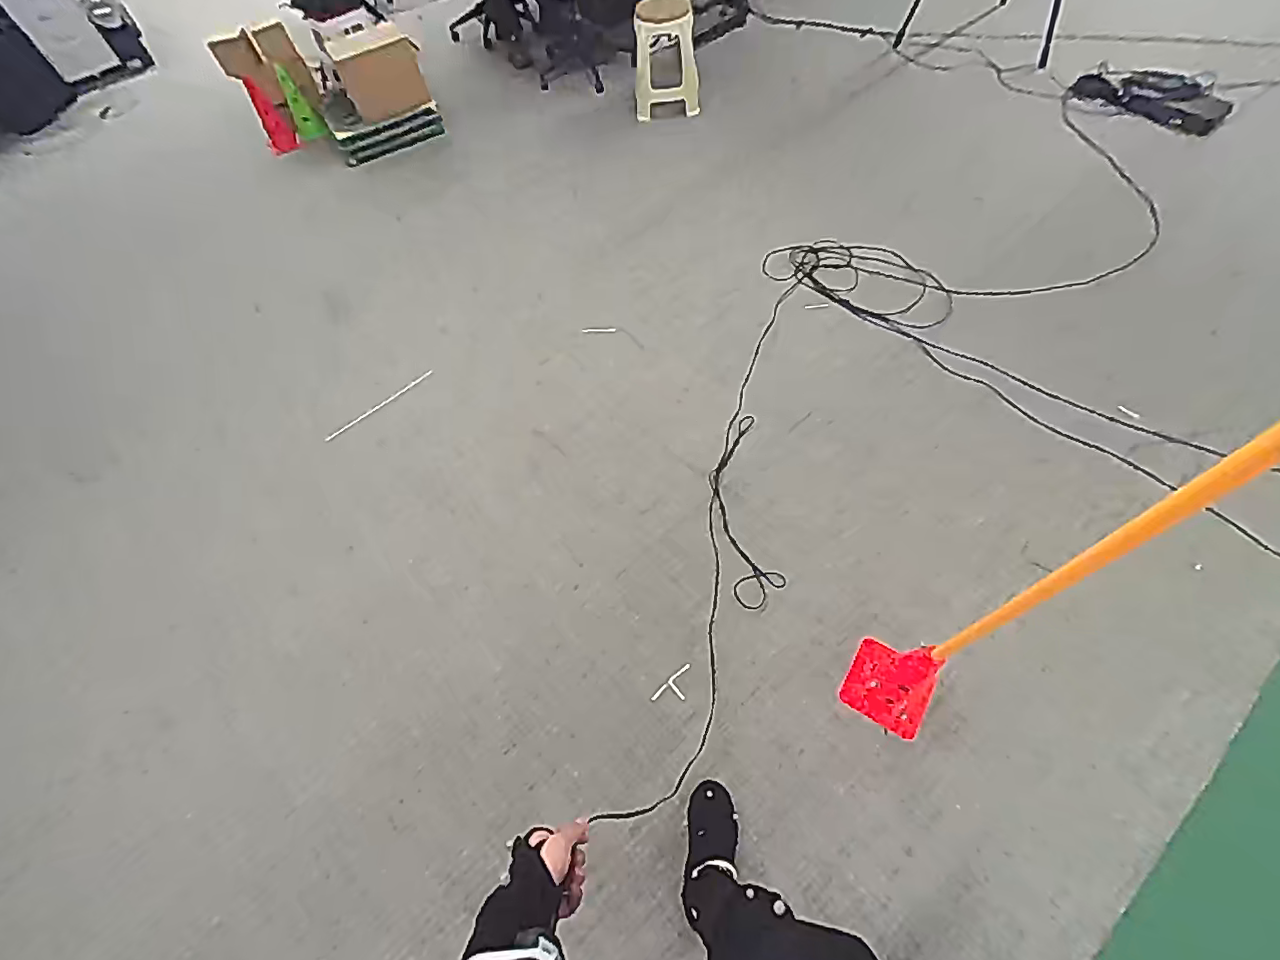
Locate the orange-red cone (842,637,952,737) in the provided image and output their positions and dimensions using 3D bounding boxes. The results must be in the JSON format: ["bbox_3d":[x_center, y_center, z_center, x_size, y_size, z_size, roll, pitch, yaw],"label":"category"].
[{"bbox_3d":[0.639,0.446,1.269,0.198,0.360,0.199,29,65,20],"label":"orange-red cone"}]
